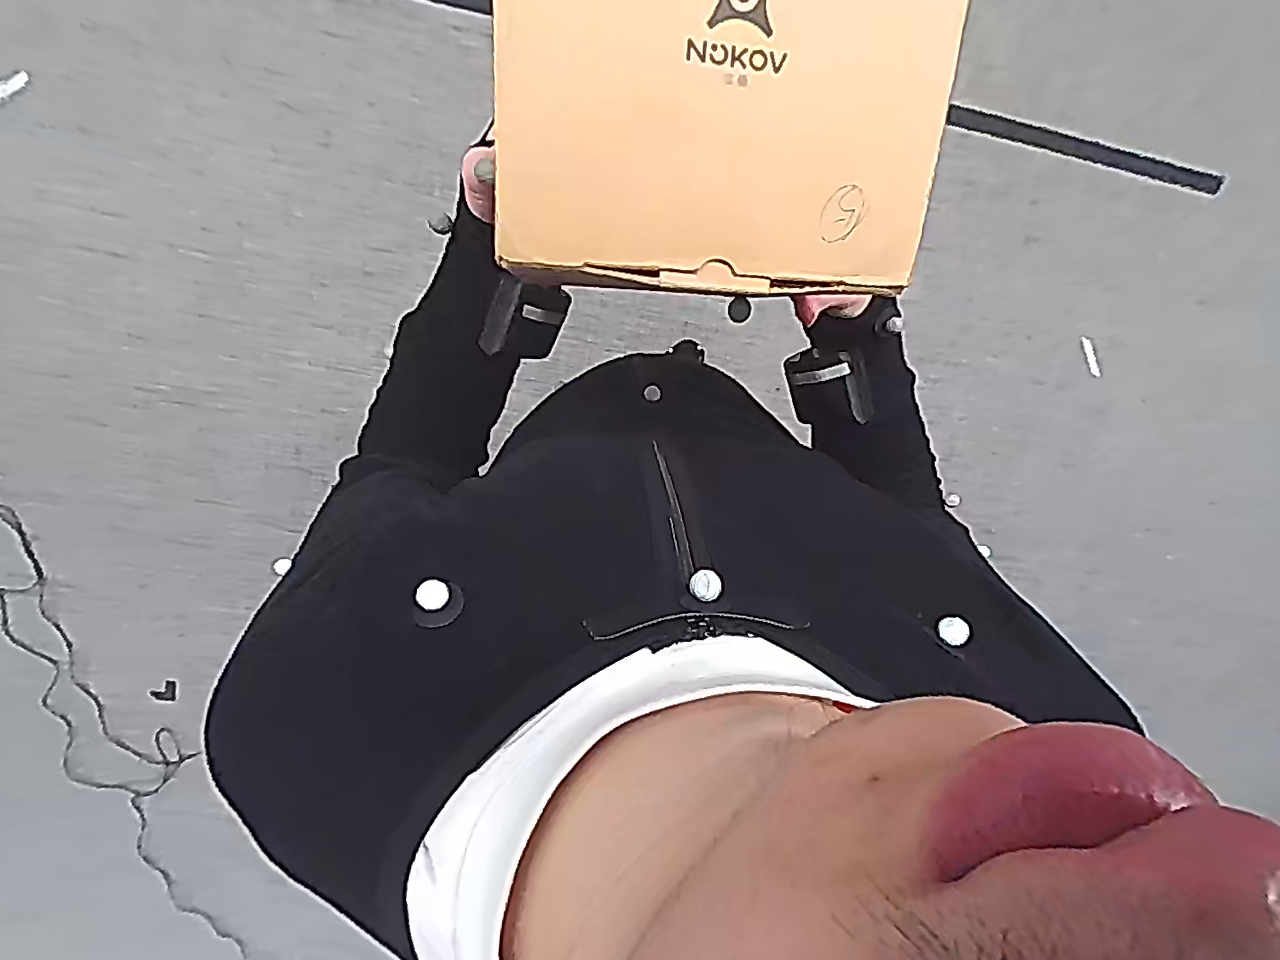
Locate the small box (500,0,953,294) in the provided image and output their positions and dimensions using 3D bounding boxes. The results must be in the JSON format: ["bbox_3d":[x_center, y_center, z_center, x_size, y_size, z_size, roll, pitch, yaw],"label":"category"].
[{"bbox_3d":[0.022,-0.189,0.268,0.168,0.176,0.179,-1,108,-10],"label":"small box"}]
